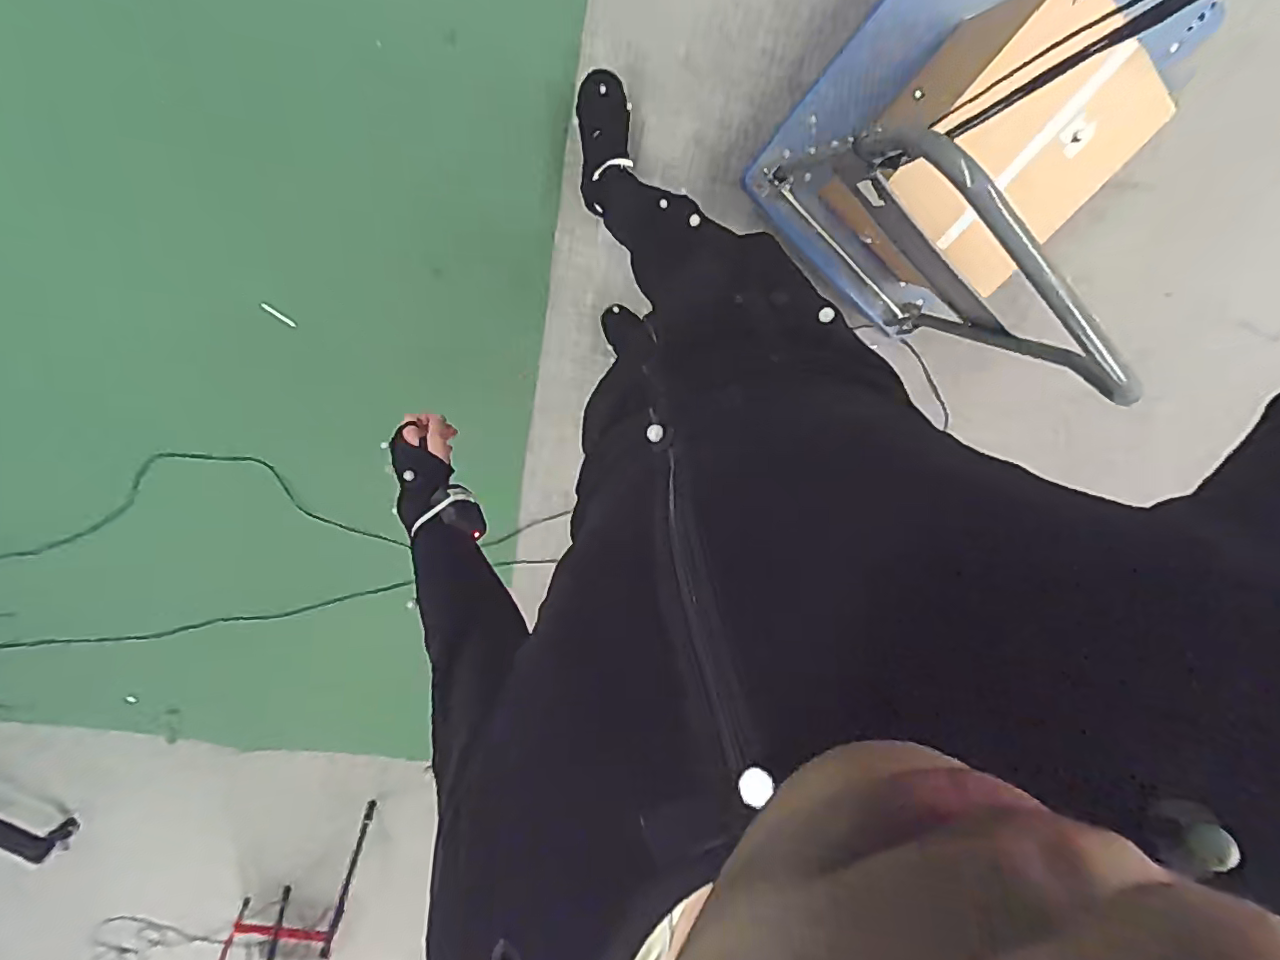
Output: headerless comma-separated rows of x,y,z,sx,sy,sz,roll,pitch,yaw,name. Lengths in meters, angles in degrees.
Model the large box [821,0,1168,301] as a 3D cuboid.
0.645,-0.627,1.058,0.320,0.320,0.408,35,109,-20,large box
